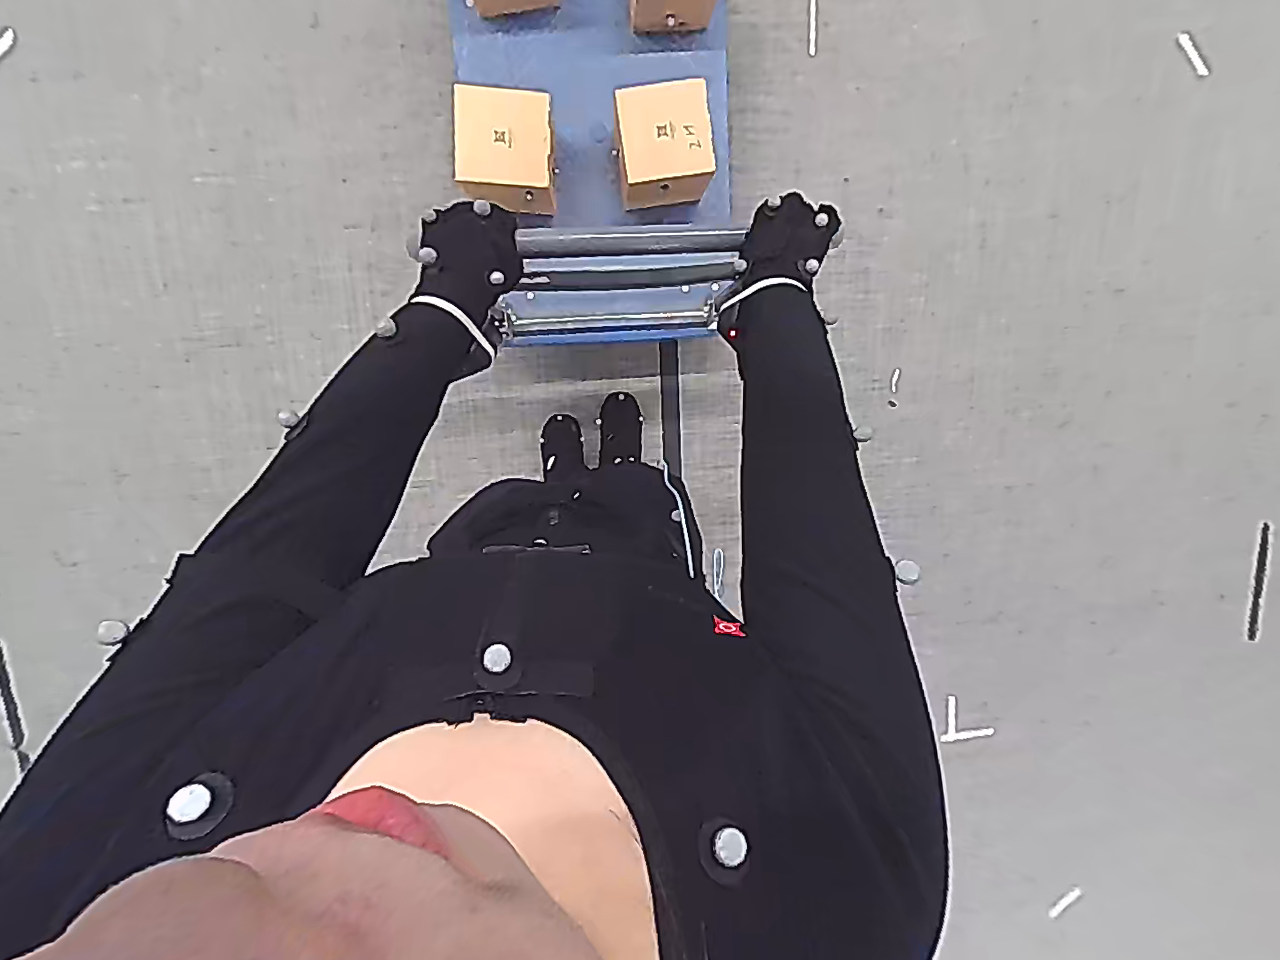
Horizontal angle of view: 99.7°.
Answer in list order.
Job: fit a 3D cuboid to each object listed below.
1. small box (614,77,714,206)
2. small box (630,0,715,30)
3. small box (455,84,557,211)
[{"bbox_3d":[0.043,-0.680,1.106,0.179,0.176,0.168,-9,102,-3],"label":"small box"},{"bbox_3d":[0.062,-1.019,1.042,0.168,0.176,0.179,-6,102,-3],"label":"small box"},{"bbox_3d":[-0.262,-0.656,1.087,0.179,0.176,0.168,1,100,-6],"label":"small box"}]
